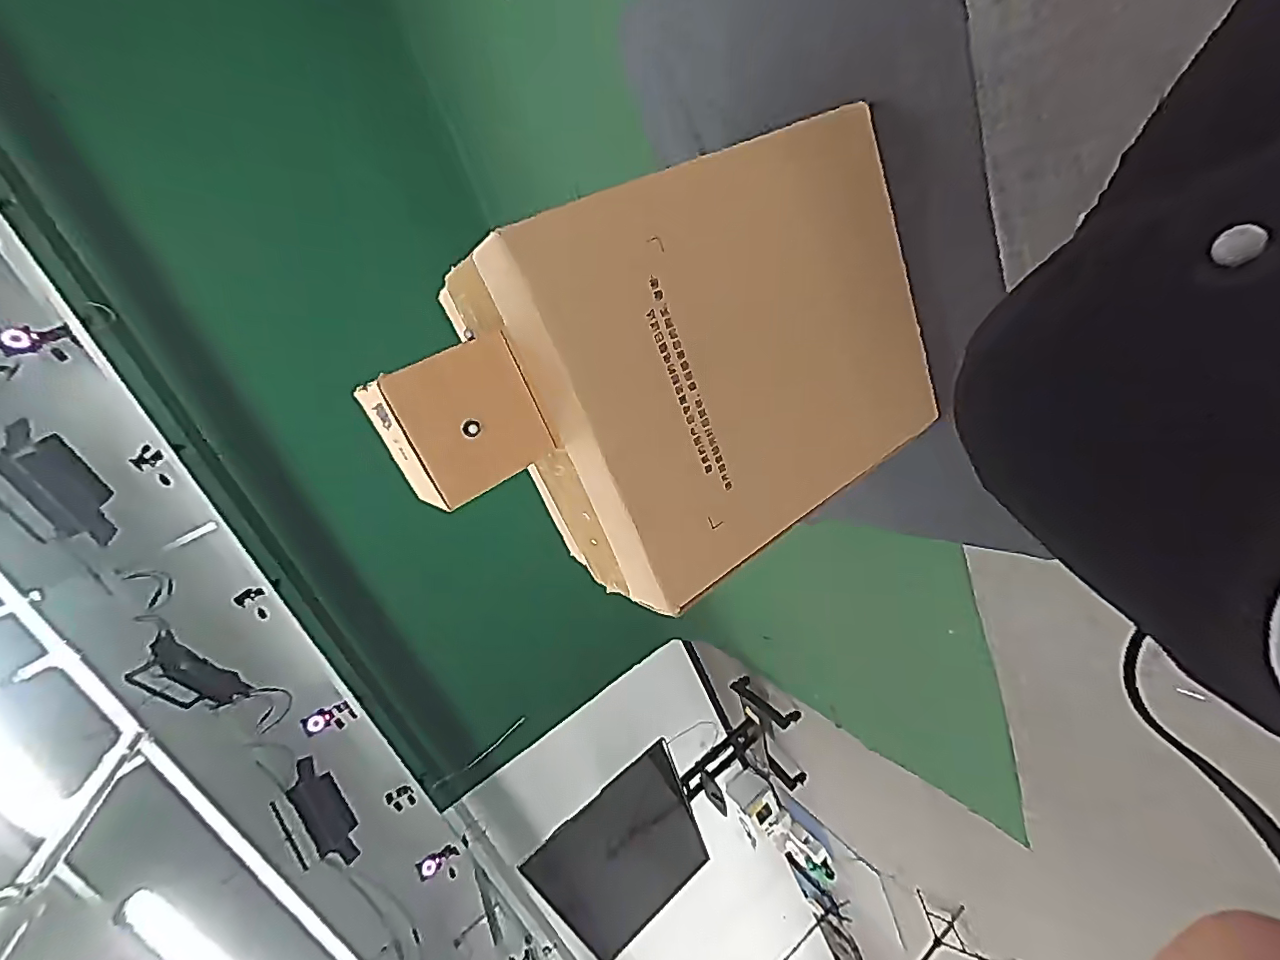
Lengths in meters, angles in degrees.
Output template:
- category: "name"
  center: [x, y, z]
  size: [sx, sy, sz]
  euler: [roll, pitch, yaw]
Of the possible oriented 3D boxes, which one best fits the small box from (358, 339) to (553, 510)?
- category: "small box"
  center: [-0.251, -0.083, 0.747]
  size: [0.168, 0.176, 0.179]
  euler: [8, 127, 55]
